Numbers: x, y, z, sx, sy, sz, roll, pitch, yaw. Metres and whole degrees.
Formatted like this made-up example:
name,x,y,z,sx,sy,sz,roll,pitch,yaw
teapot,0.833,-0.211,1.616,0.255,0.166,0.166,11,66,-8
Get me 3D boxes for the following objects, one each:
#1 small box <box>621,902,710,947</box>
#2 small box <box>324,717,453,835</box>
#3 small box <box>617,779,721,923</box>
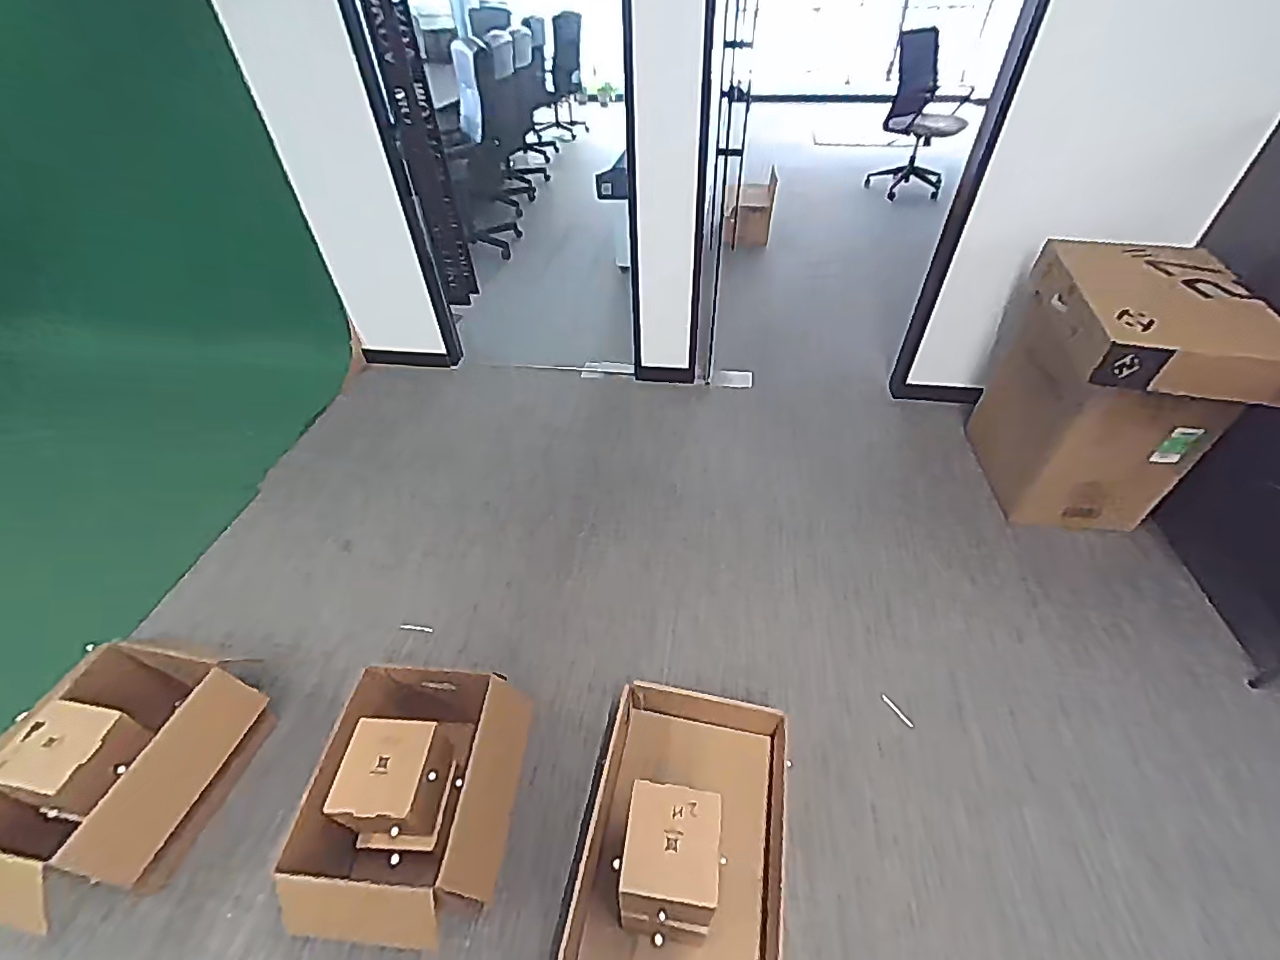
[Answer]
name,x,y,z,sx,sy,sz,roll,pitch,yaw
small box,0.059,0.811,1.099,0.168,0.176,0.179,7,43,8
small box,-0.505,0.616,1.120,0.168,0.176,0.179,2,46,3
small box,0.056,0.684,0.994,0.168,0.176,0.179,6,43,6
